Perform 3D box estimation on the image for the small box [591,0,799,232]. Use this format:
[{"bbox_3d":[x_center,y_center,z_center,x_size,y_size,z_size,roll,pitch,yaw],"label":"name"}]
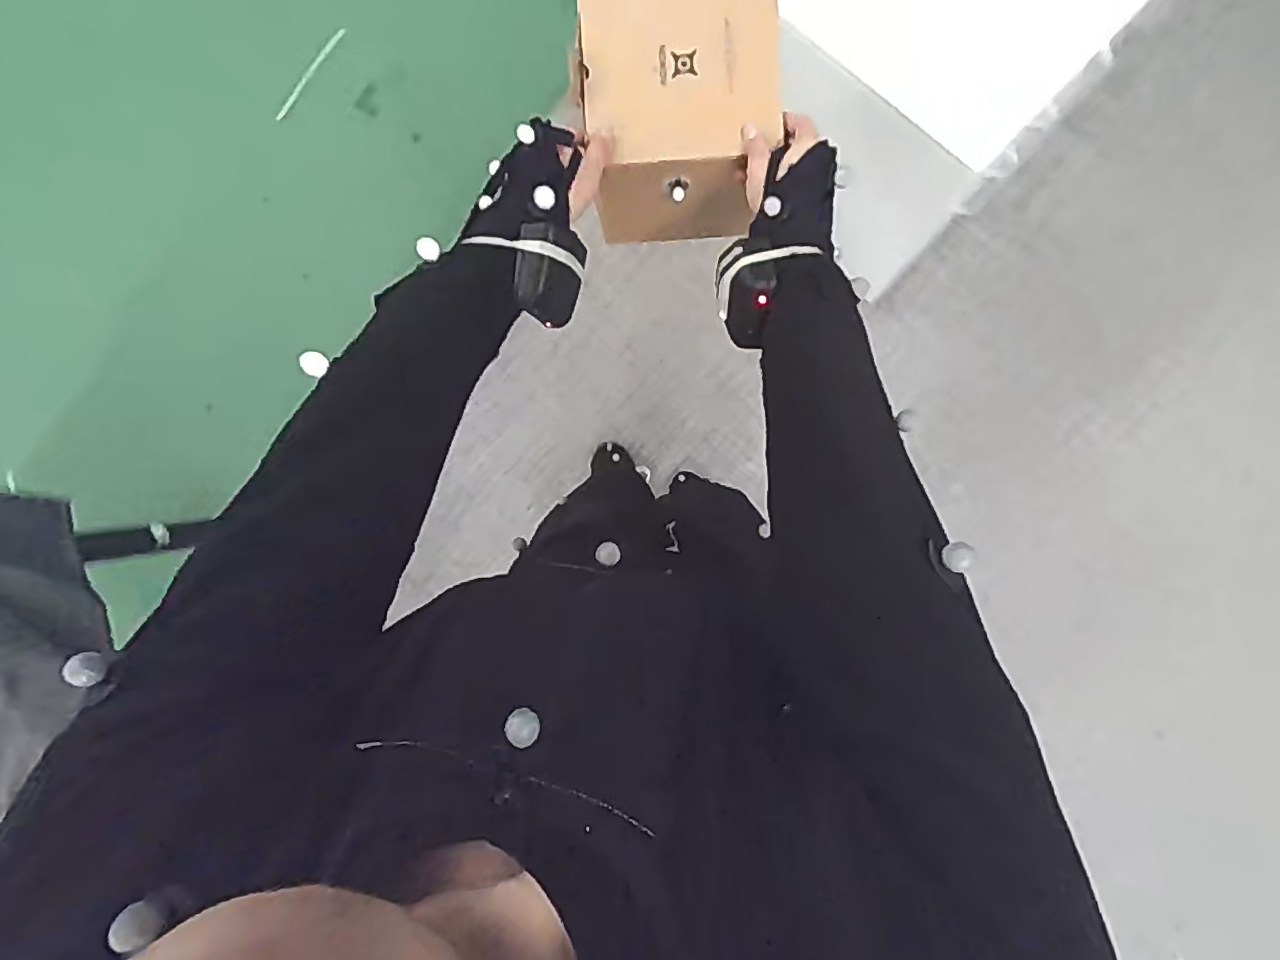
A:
[{"bbox_3d":[0.050,-0.365,0.542,0.179,0.176,0.168,-2,92,1],"label":"small box"}]
